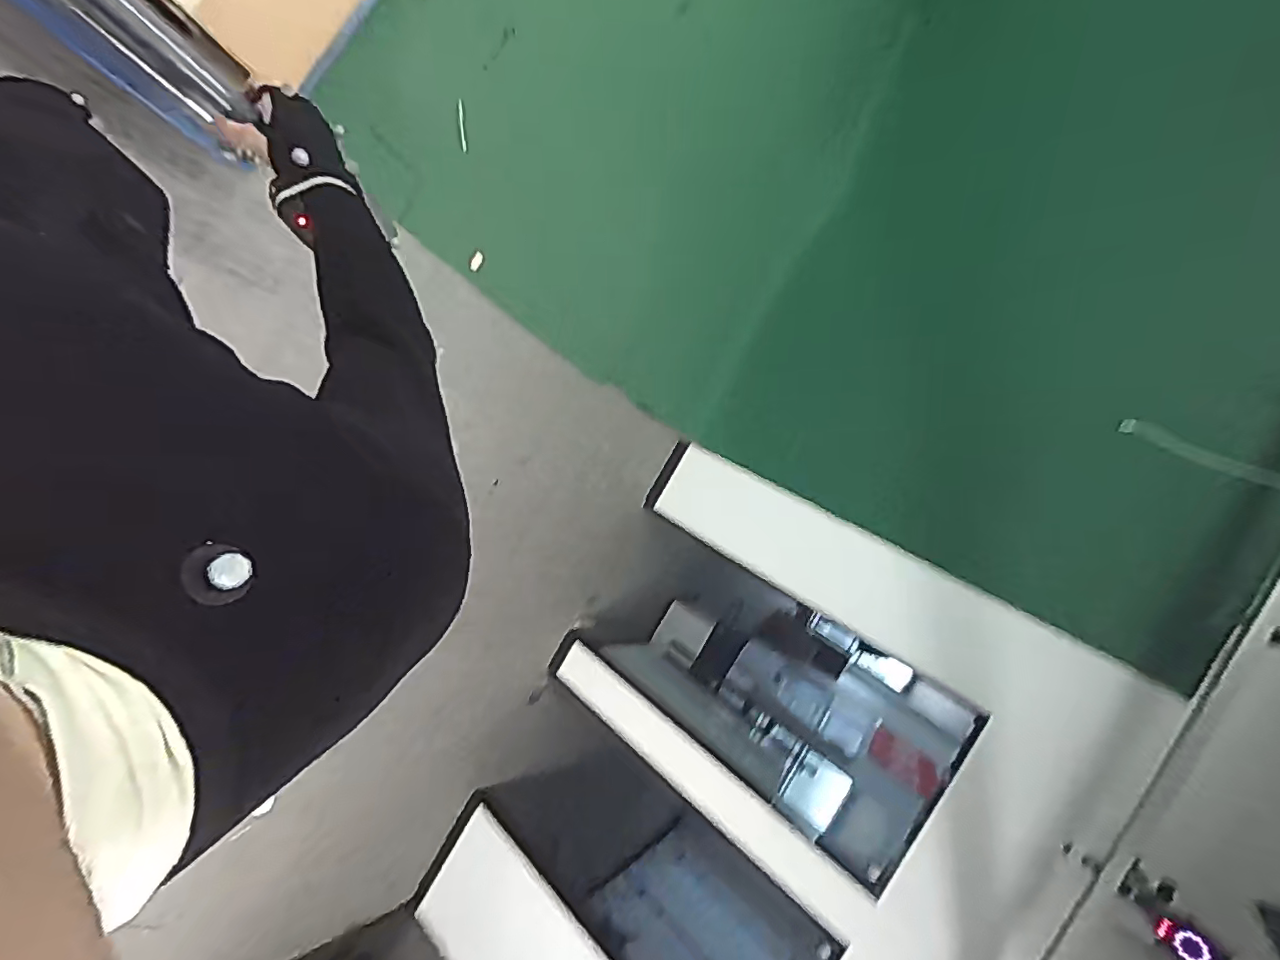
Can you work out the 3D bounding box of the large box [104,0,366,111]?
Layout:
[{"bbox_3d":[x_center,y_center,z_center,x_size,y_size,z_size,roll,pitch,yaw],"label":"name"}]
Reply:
[{"bbox_3d":[-0.653,-0.881,0.848,0.408,0.320,0.320,-58,150,-4],"label":"large box"}]
